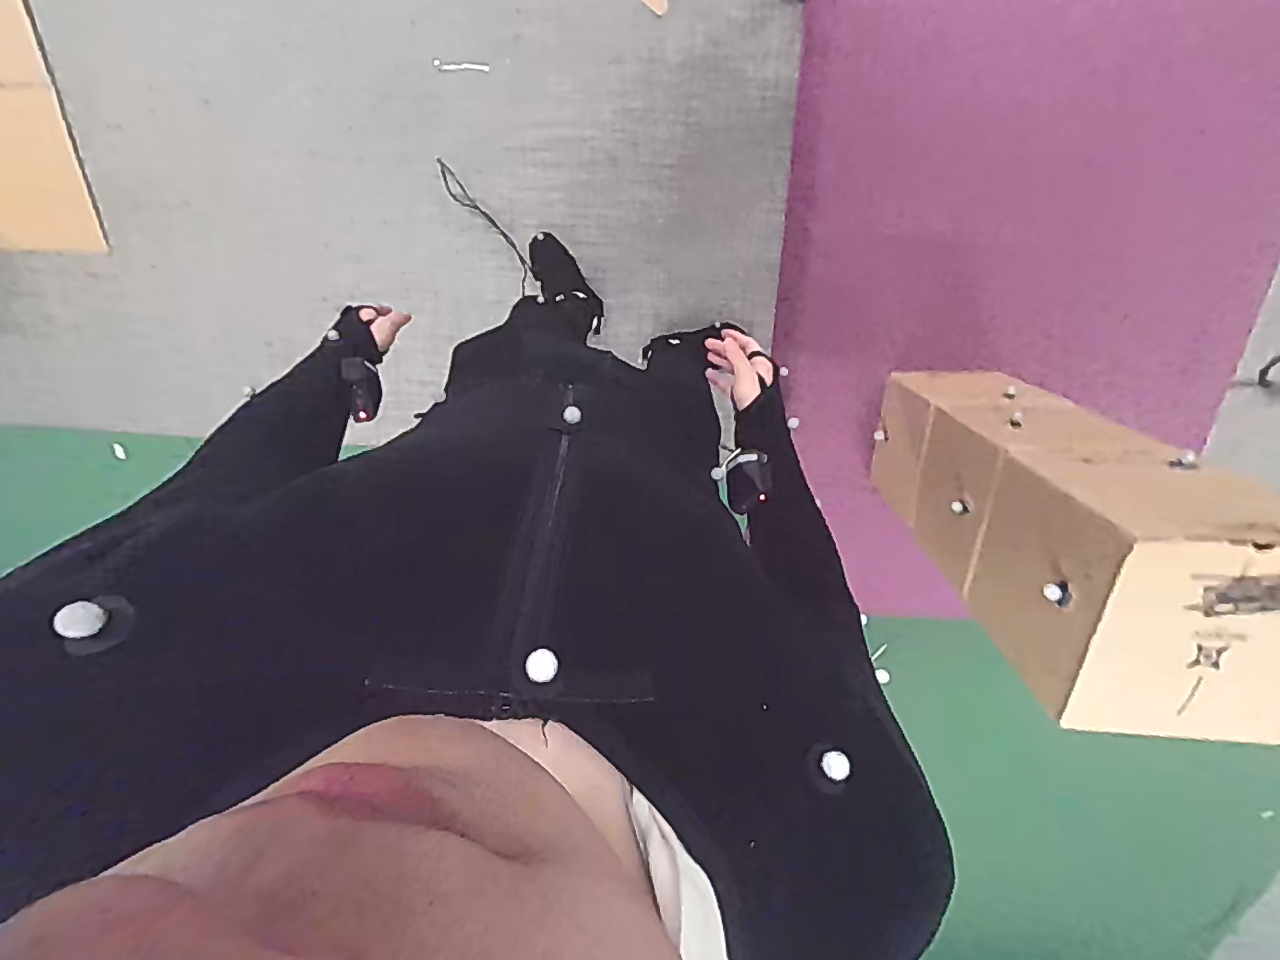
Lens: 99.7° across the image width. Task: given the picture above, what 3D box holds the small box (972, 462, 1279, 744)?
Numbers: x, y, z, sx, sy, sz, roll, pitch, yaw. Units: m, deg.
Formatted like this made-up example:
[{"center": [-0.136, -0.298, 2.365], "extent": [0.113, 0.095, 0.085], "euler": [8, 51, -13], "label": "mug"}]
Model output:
[{"center": [0.422, 0.092, 0.468], "extent": [0.168, 0.176, 0.179], "euler": [2, 114, 6], "label": "small box"}]

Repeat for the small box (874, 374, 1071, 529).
[{"center": [0.447, -0.043, 0.765], "extent": [0.168, 0.176, 0.179], "euler": [2, 114, 4], "label": "small box"}]

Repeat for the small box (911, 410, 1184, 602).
[{"center": [0.434, 0.024, 0.616], "extent": [0.168, 0.176, 0.179], "euler": [3, 114, 5], "label": "small box"}]
